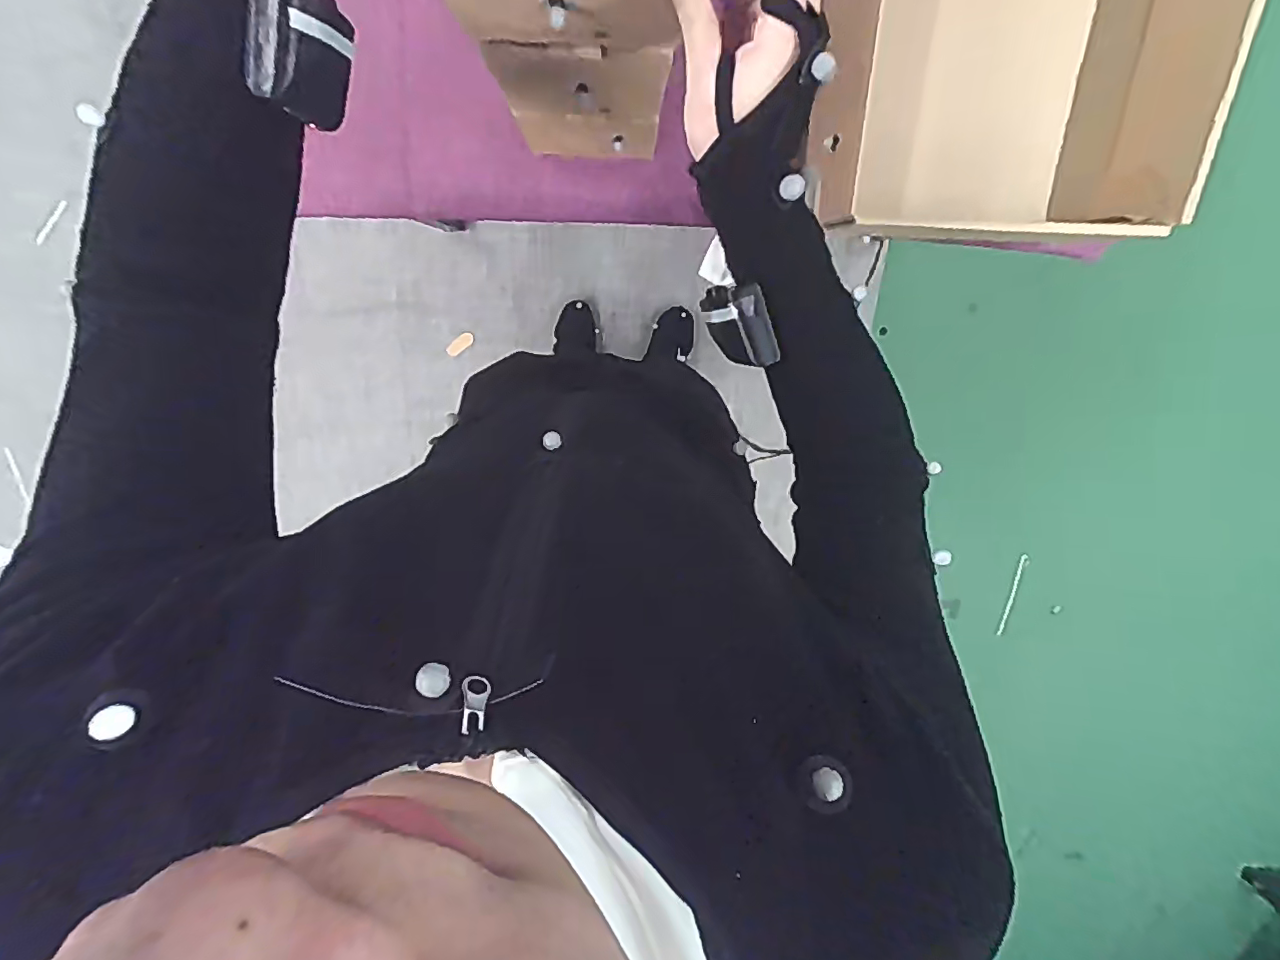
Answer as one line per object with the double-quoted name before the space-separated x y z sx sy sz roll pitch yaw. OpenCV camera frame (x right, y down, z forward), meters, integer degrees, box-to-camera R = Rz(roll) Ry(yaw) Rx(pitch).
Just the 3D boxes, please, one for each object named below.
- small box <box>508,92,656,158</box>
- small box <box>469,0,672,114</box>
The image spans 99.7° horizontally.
"small box" -0.061 -0.504 0.646 0.168 0.176 0.179 1 107 -3
"small box" -0.055 -0.456 0.489 0.168 0.176 0.179 1 108 -3
